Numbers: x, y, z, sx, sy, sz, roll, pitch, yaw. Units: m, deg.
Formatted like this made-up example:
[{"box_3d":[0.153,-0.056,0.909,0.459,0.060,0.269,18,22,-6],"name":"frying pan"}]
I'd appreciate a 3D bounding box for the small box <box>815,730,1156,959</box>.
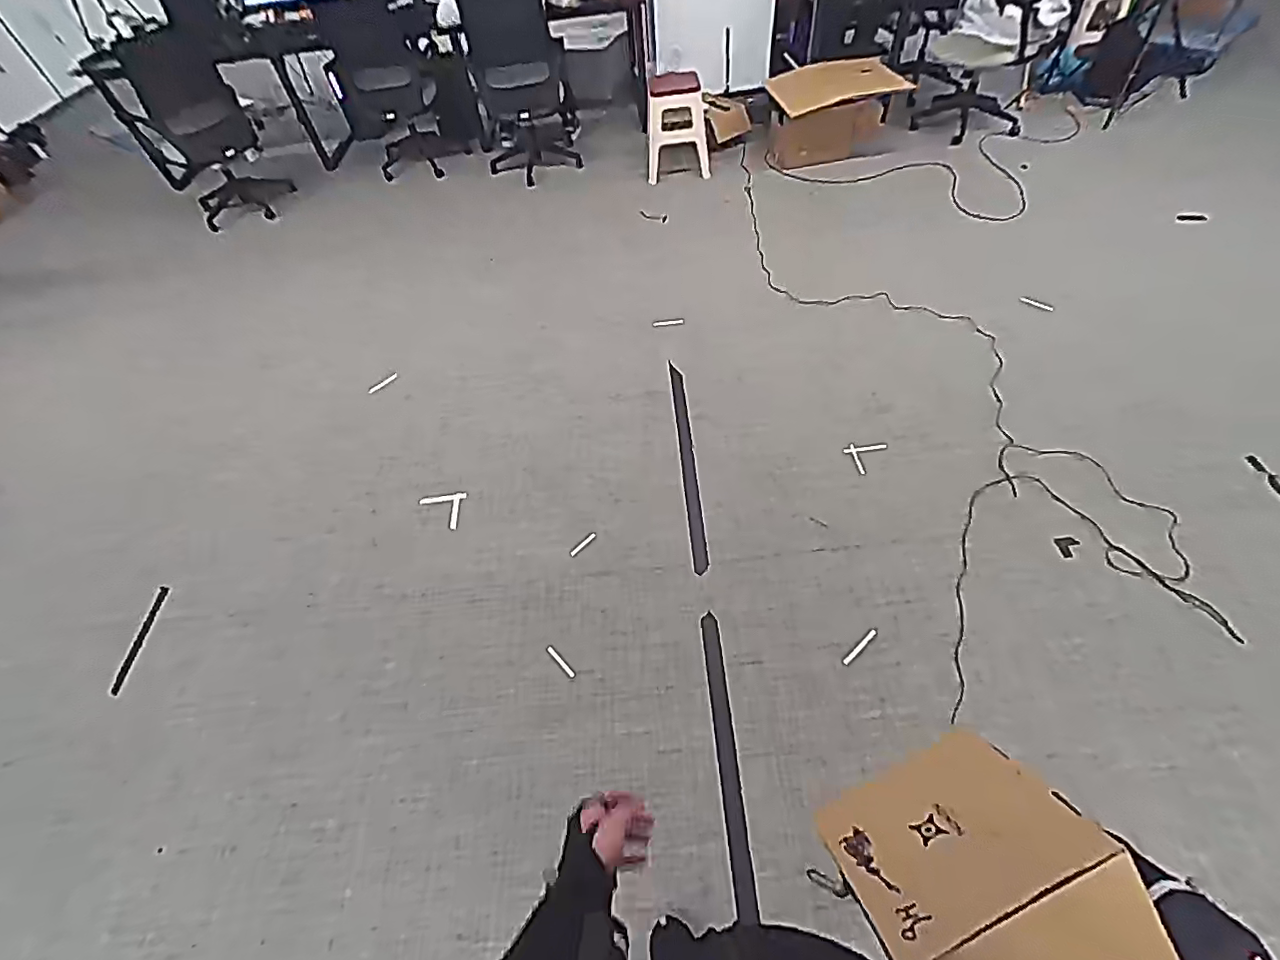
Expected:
[{"box_3d":[0.289,0.364,0.462,0.179,0.168,0.176,-28,95,-2],"name":"small box"}]
